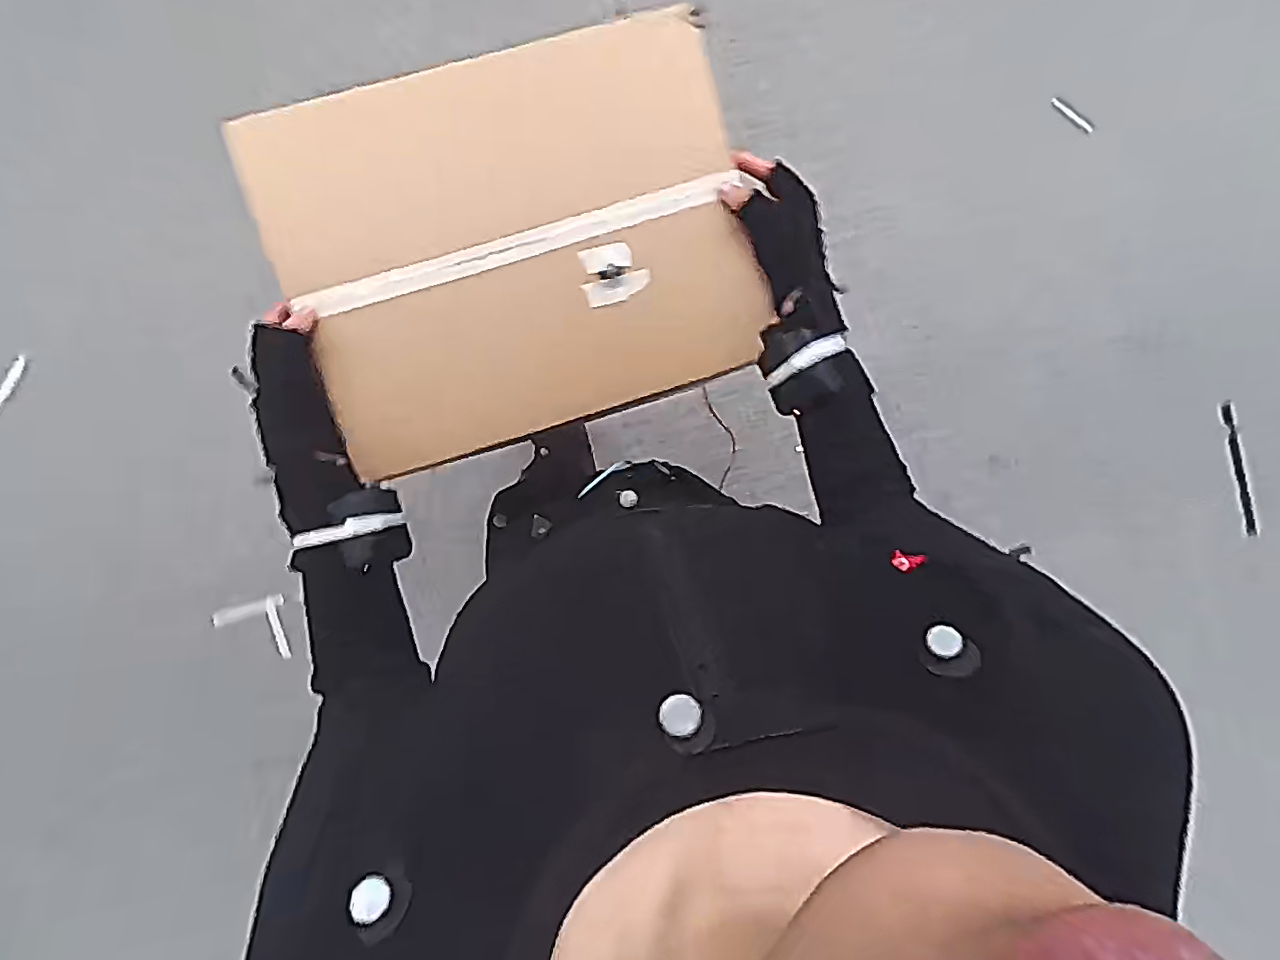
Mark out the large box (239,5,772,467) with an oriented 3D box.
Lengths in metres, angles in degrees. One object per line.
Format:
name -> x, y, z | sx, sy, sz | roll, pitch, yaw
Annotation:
large box -> -0.123, -0.230, 0.630 | 0.408, 0.320, 0.320 | -19, 98, -5
